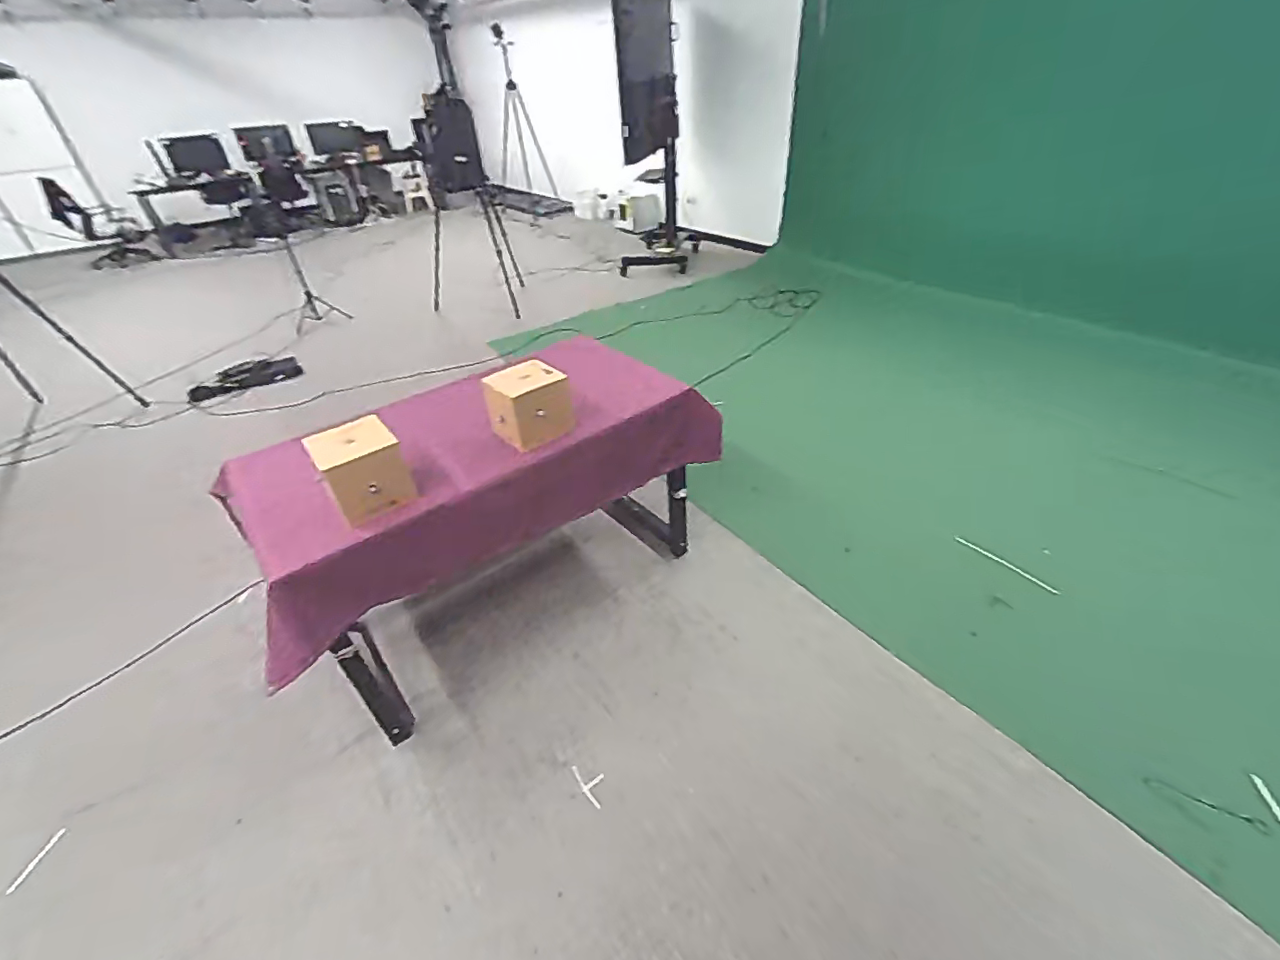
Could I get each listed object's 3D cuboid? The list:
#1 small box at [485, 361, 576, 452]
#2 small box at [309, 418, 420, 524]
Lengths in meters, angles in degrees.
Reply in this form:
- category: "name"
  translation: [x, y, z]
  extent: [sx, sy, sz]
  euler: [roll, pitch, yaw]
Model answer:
- category: "small box"
  translation: [-0.296, -0.202, 1.491]
  extent: [0.179, 0.176, 0.168]
  euler: [-30, 44, -29]
- category: "small box"
  translation: [-0.648, -0.019, 1.284]
  extent: [0.168, 0.176, 0.179]
  euler: [-28, 42, -29]
